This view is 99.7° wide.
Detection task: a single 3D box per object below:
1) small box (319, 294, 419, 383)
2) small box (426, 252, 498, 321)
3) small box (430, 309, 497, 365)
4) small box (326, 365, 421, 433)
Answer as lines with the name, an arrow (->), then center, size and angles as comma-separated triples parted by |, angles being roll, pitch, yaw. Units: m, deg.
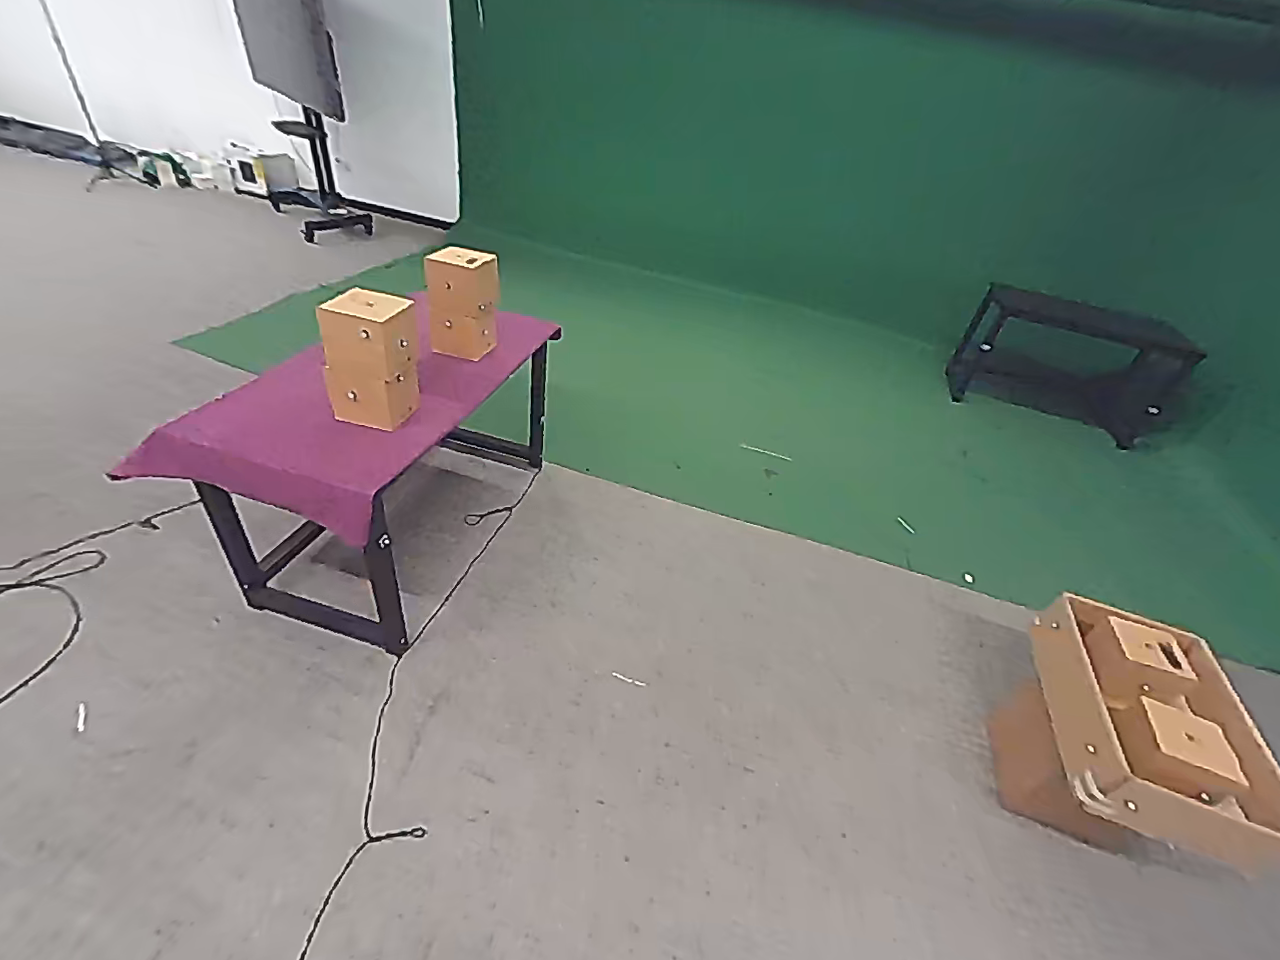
small box -> -0.717, -0.378, 1.457 | 0.179, 0.176, 0.168 | 13, 37, 4
small box -> -0.598, -0.659, 1.846 | 0.179, 0.176, 0.168 | 15, 38, 10
small box -> -0.628, -0.533, 1.948 | 0.179, 0.176, 0.168 | 13, 38, 7
small box -> -0.758, -0.253, 1.558 | 0.179, 0.176, 0.168 | 12, 38, 3
